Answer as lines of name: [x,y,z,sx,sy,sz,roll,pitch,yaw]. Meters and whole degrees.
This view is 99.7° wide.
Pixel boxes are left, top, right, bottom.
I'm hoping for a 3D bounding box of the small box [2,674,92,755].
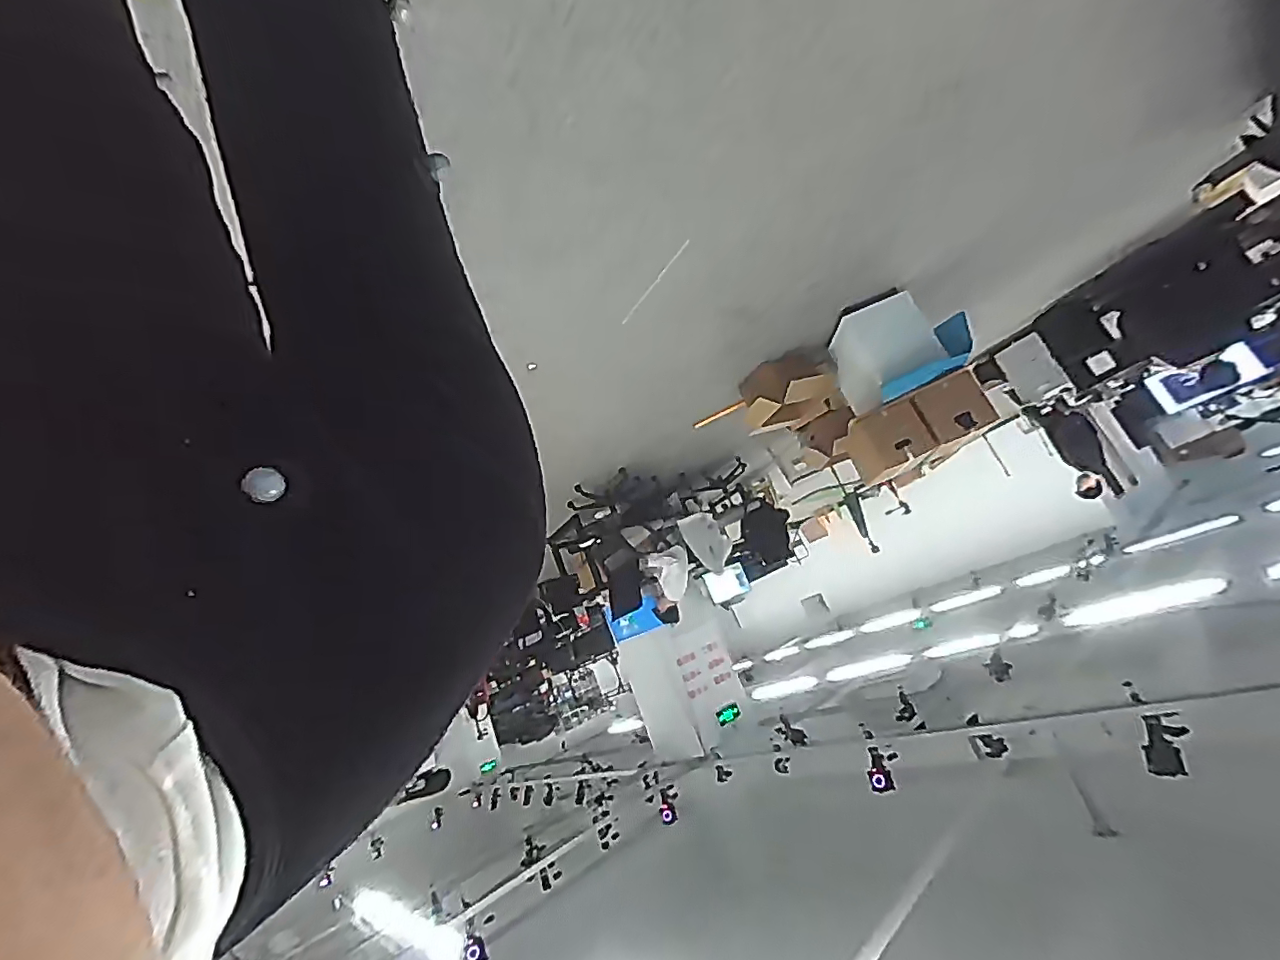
small box: [-1.803,0.709,1.648,0.168,0.176,0.179,-7,158,-43]
